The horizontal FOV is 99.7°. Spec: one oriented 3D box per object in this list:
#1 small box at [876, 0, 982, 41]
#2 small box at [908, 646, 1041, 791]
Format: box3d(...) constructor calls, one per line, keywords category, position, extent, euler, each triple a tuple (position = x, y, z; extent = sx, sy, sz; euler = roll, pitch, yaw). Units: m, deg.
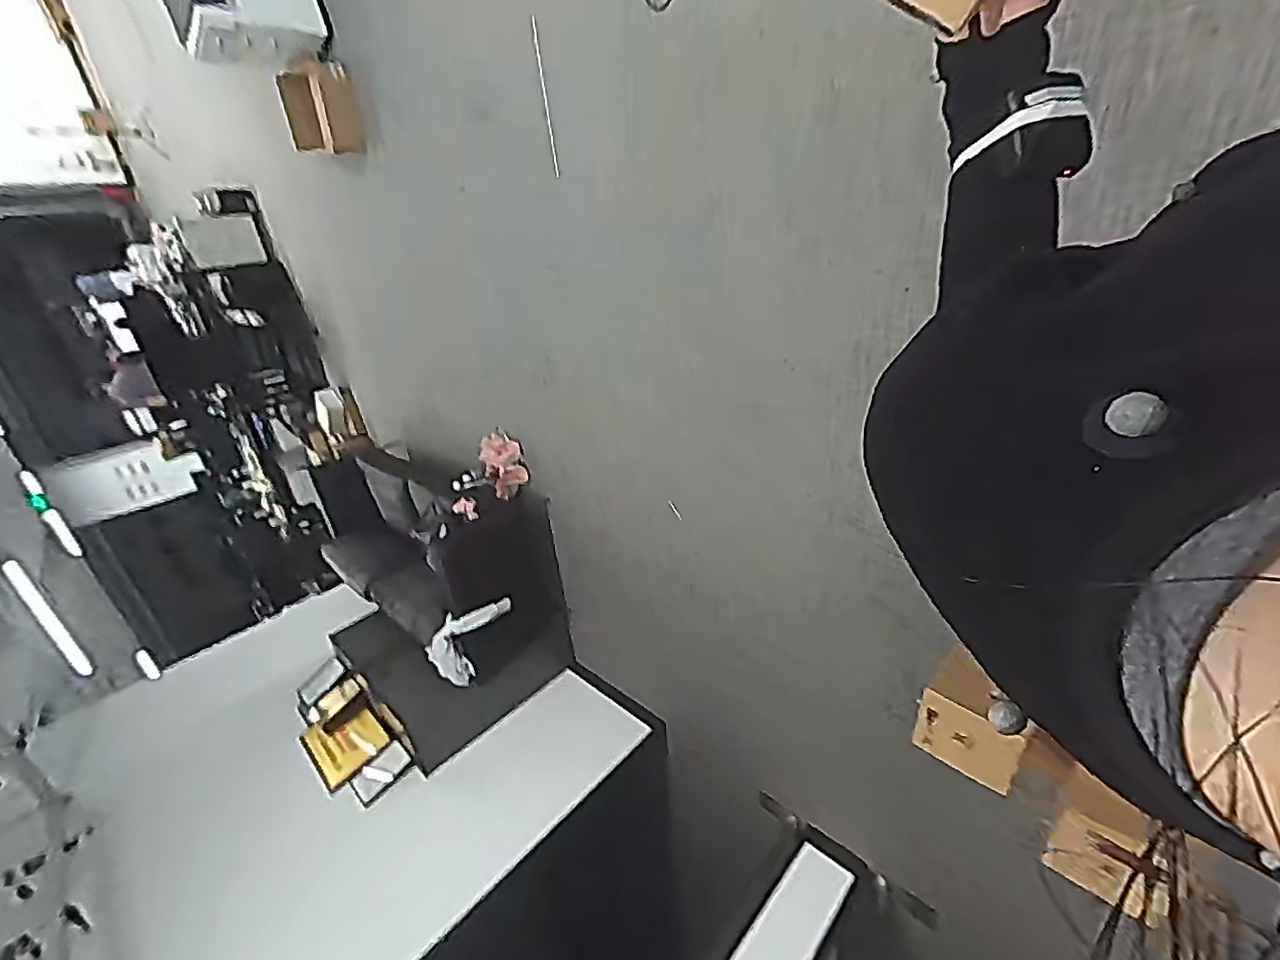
box3d(category="small box", position=(0.177, -0.402, 0.299), extent=(0.179, 0.168, 0.176), euler=(34, 147, 2))
box3d(category="small box", position=(0.679, 0.472, 1.098), extent=(0.179, 0.176, 0.168), euler=(22, 125, 39))
